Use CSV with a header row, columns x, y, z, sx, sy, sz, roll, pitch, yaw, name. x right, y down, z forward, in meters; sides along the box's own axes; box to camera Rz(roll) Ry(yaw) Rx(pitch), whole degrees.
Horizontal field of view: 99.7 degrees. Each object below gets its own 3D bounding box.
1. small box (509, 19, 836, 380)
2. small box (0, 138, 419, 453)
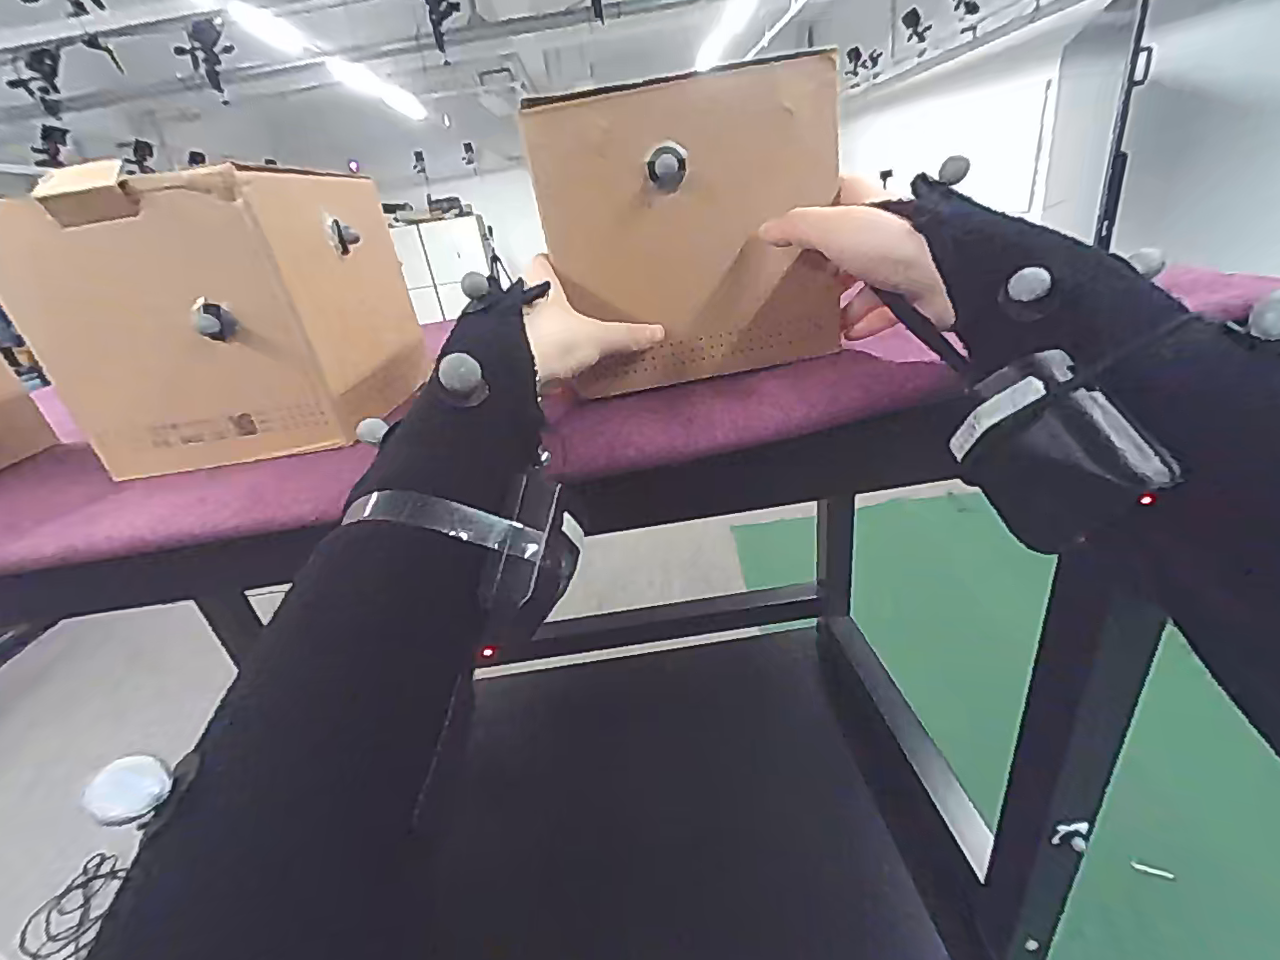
x,y,z,sx,sy,sz,roll,pitch,yaw,name
0.025,-0.178,0.383,0.179,0.176,0.168,-10,25,0,small box
-0.282,-0.125,0.387,0.168,0.176,0.179,-7,26,2,small box
